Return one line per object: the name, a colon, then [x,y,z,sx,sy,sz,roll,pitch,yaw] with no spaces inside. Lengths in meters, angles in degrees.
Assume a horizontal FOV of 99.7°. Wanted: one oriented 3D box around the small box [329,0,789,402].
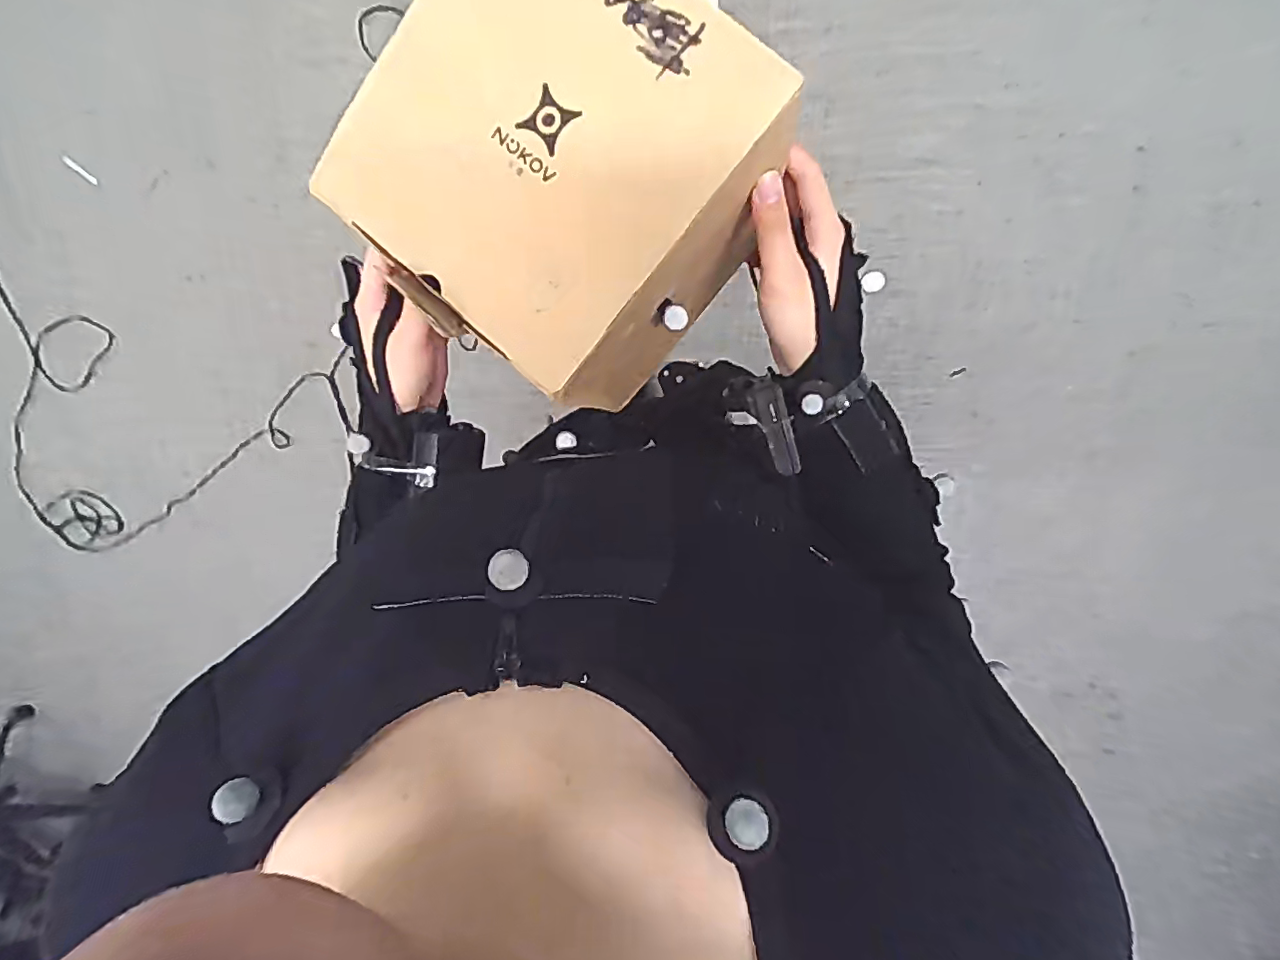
small box: [-0.033,-0.162,0.334,0.168,0.176,0.179,41,101,3]
